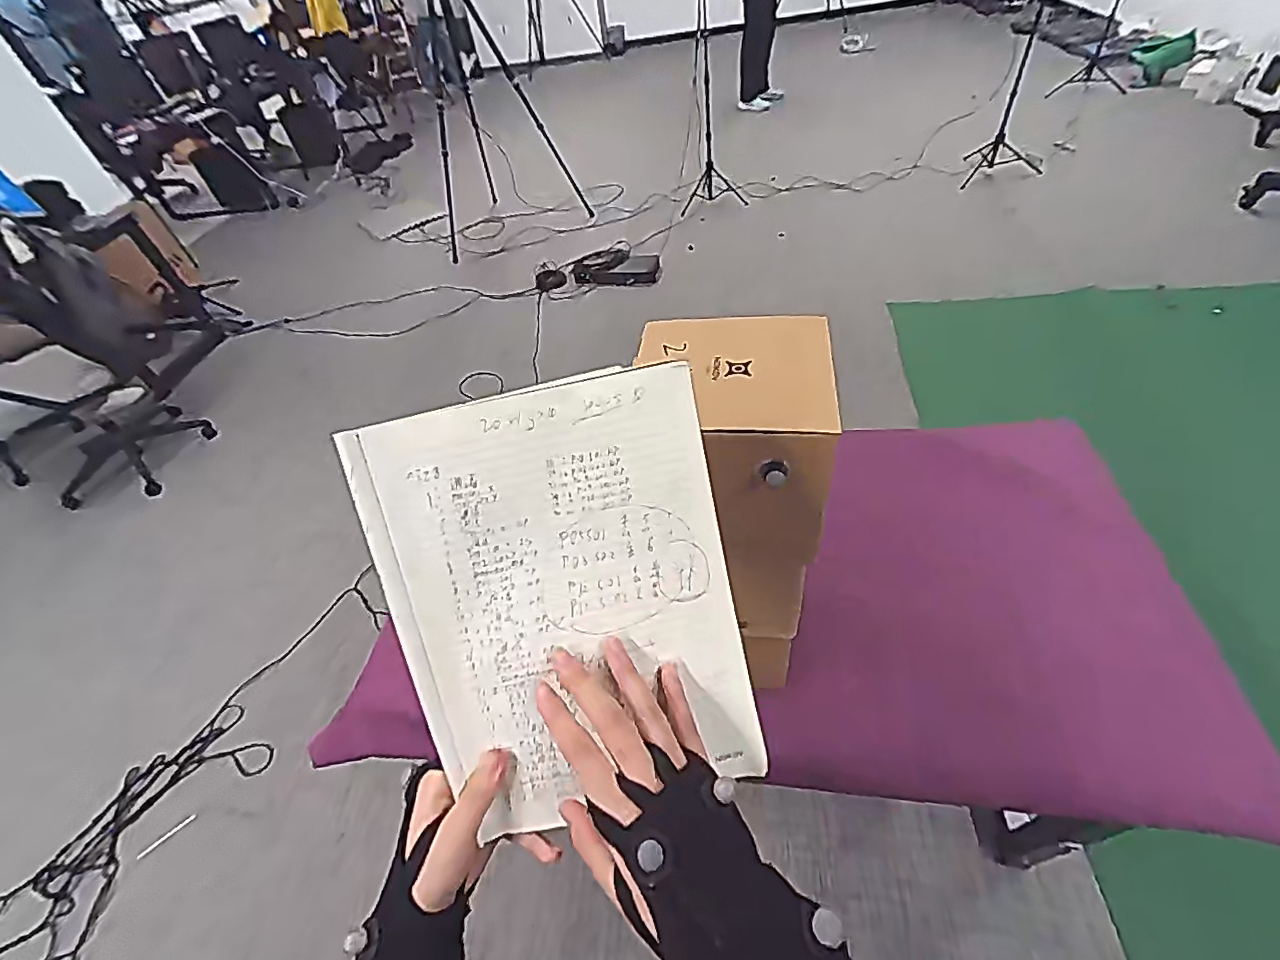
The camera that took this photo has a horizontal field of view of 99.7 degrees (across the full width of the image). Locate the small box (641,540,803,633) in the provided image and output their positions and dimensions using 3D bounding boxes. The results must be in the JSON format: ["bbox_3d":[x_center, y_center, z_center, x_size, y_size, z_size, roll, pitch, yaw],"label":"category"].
[{"bbox_3d":[0.103,0.067,0.651,0.168,0.176,0.179,1,47,11],"label":"small box"}]

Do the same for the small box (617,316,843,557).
[{"bbox_3d":[0.090,-0.041,0.526,0.179,0.176,0.168,2,47,13],"label":"small box"}]
